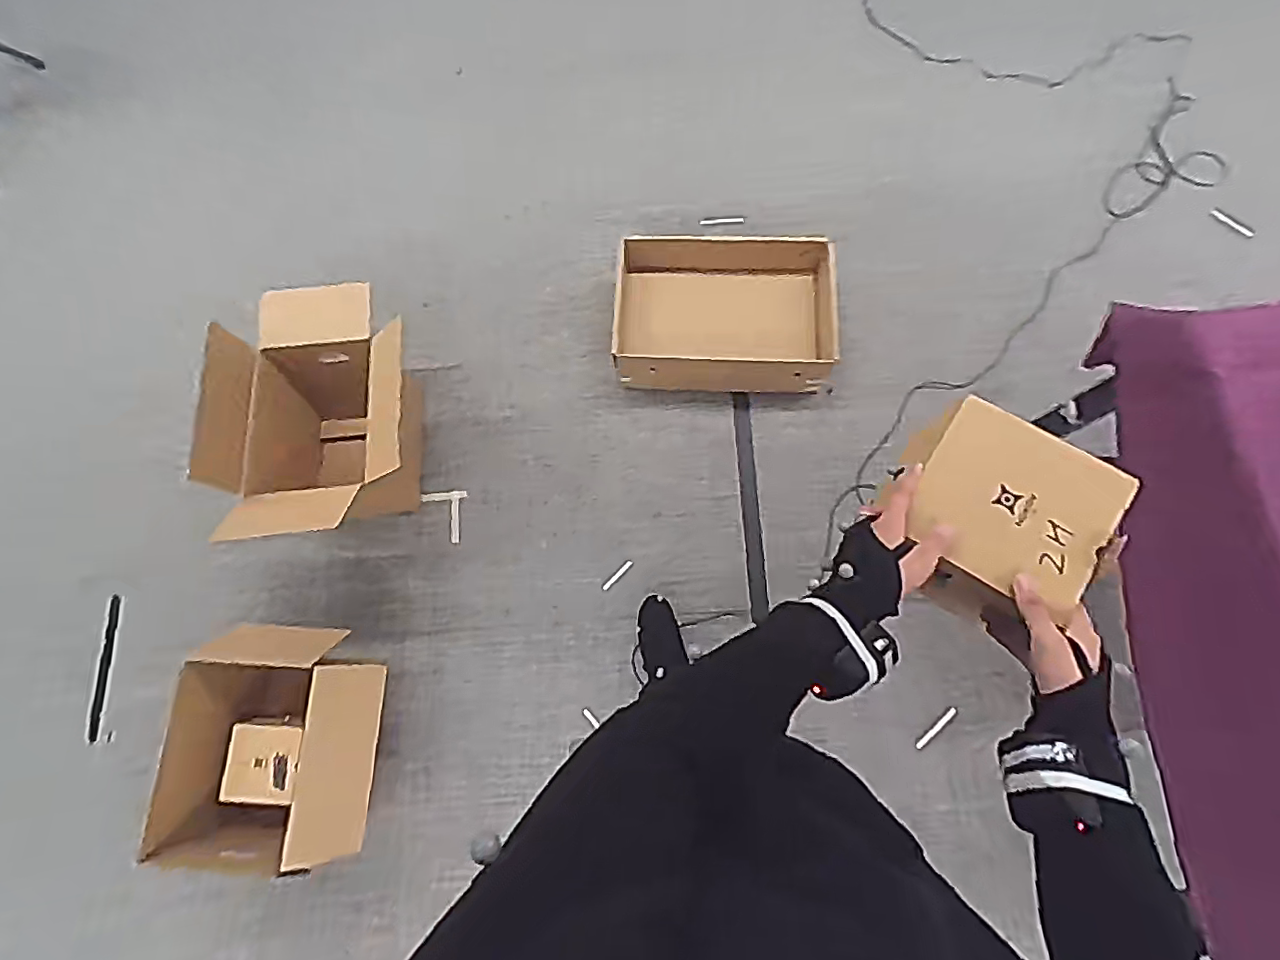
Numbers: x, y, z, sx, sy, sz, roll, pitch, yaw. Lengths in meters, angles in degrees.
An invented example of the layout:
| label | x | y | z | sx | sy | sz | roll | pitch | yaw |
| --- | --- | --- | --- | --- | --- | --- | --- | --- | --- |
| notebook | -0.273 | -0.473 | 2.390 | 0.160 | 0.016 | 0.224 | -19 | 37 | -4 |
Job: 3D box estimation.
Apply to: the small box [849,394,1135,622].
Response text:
| label | x | y | z | sx | sy | sz | roll | pitch | yaw |
| --- | --- | --- | --- | --- | --- | --- | --- | --- | --- |
| small box | 0.362 | 0.040 | 0.595 | 0.179 | 0.176 | 0.168 | 33 | 82 | 11 |
